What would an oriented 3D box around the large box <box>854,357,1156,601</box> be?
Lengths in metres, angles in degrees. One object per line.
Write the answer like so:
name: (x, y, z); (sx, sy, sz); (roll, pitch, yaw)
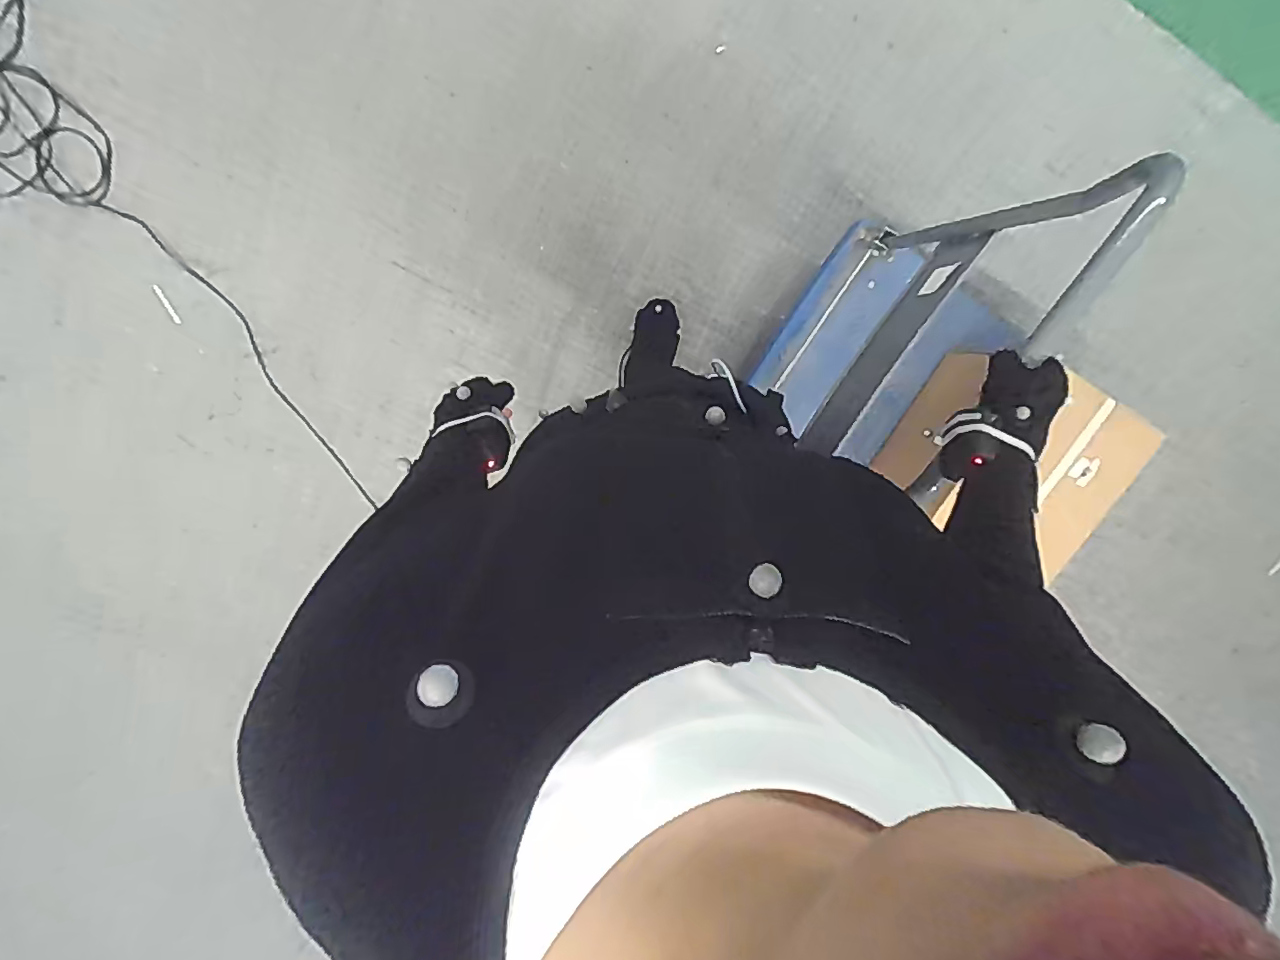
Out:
large box: (0.759, -0.020, 1.193); (0.320, 0.320, 0.408); (28, 100, -11)
